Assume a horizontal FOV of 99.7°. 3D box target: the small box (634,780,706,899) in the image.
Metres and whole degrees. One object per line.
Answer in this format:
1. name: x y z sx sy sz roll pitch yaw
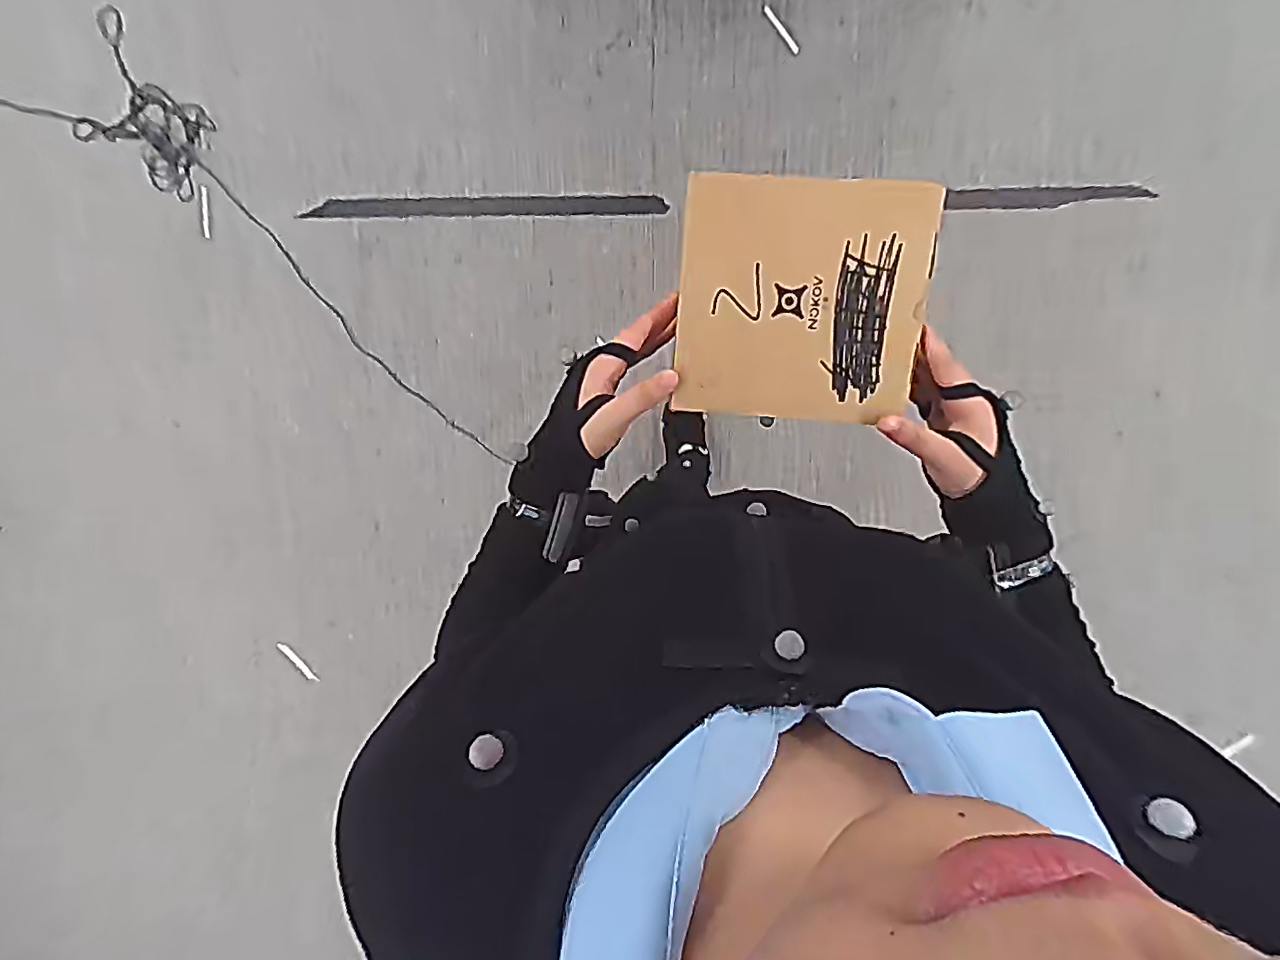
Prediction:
1. small box: 0.077 0.865 1.312 0.168 0.176 0.179 -2 94 5
